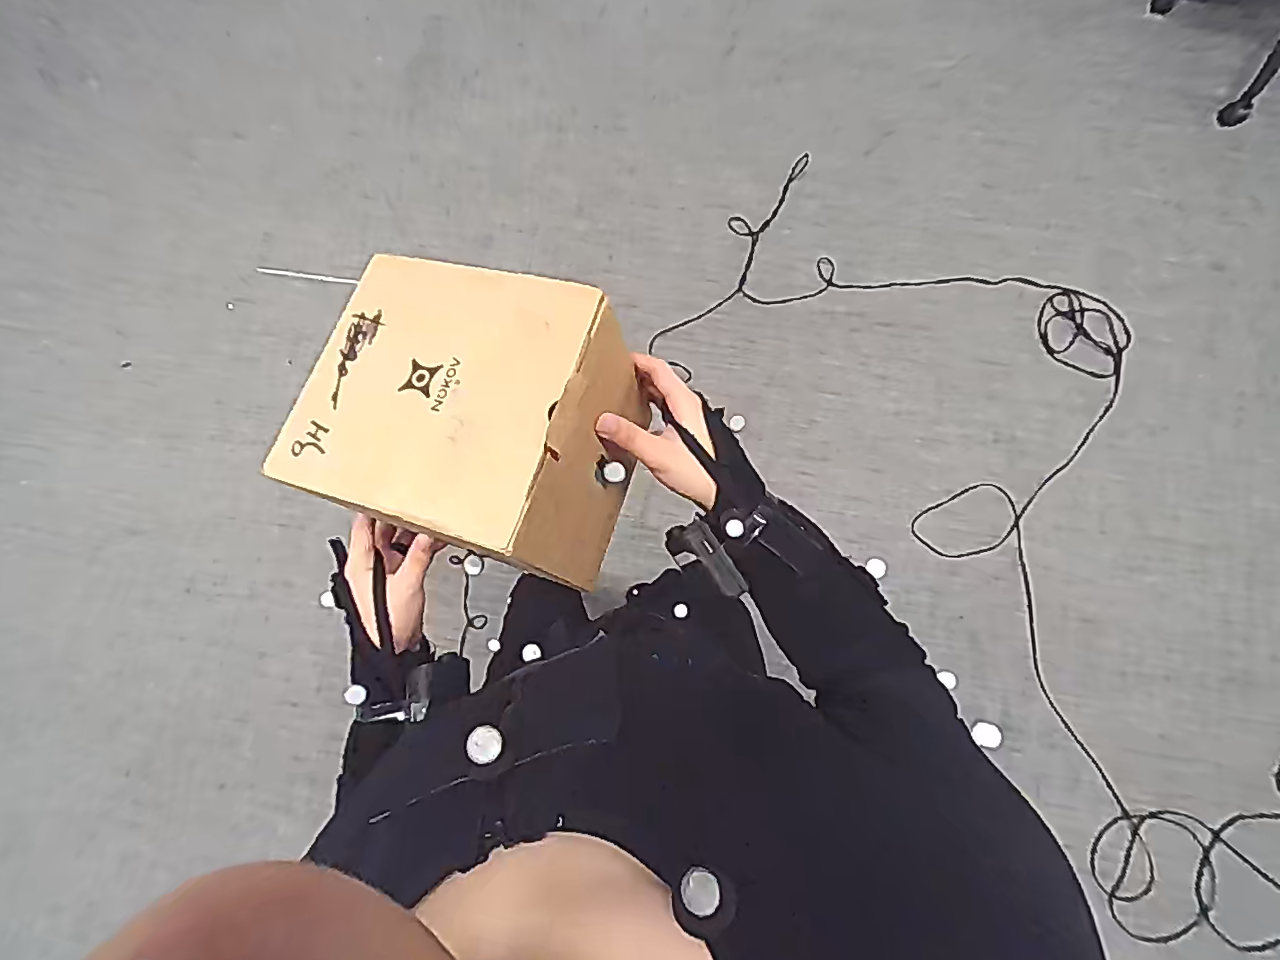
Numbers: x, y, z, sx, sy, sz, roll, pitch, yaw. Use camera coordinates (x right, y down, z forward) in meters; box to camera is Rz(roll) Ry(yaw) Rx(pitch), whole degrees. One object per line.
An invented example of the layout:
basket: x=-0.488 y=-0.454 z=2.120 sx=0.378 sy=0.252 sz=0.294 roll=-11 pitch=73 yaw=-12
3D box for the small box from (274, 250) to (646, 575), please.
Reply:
small box: x=-0.106 y=-0.035 z=0.404 sx=0.179 sy=0.176 sz=0.168 roll=16 pitch=75 yaw=14
